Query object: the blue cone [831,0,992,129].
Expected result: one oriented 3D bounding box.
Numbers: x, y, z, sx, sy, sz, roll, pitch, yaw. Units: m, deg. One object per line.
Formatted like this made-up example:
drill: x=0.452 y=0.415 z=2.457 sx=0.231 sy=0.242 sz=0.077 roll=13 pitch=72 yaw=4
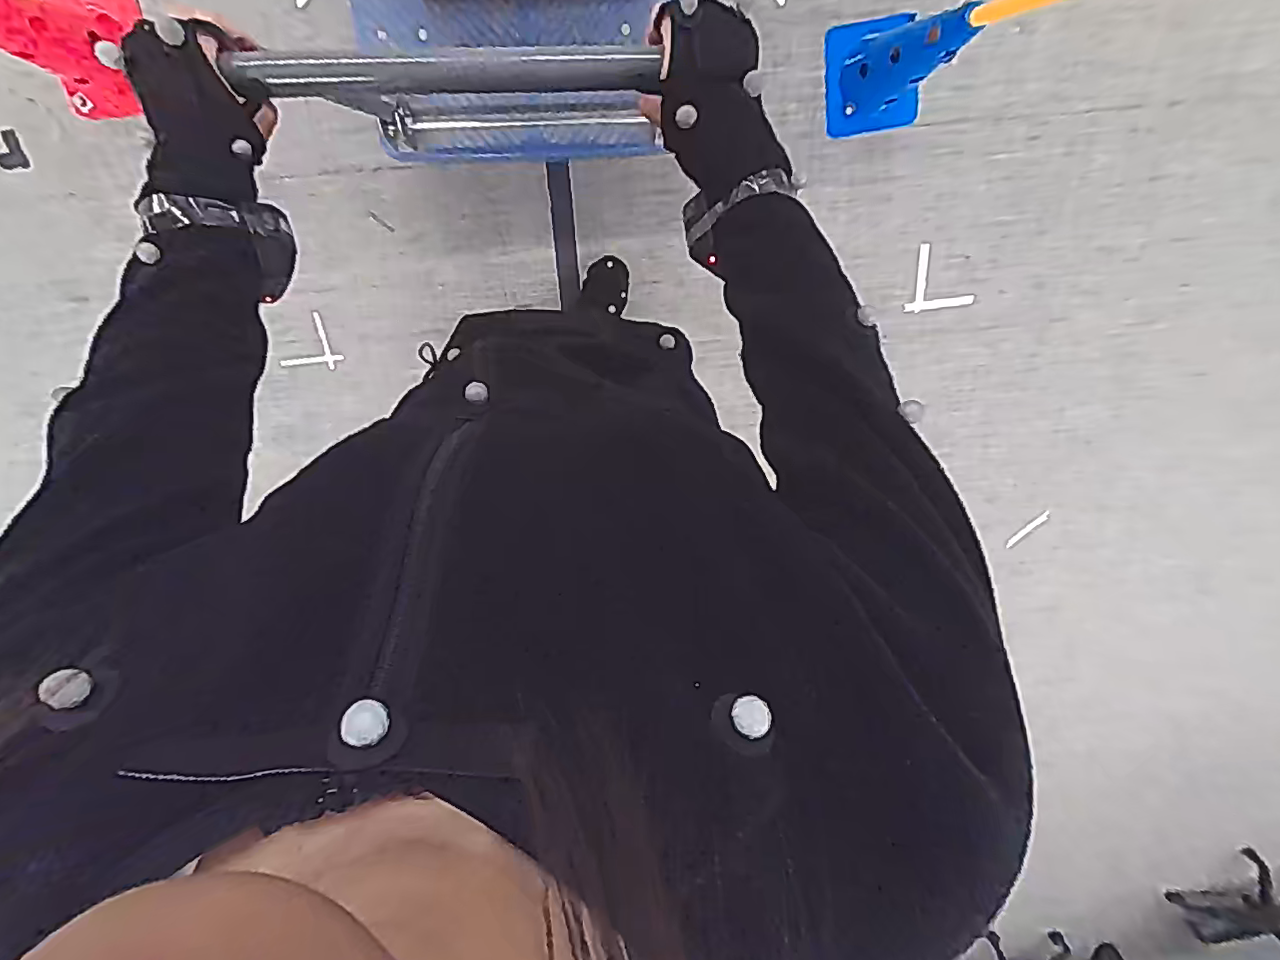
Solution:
blue cone: x=0.506 y=-0.790 z=0.986 sx=0.193 sy=0.380 sz=0.192 roll=-8 pitch=114 yaw=0
